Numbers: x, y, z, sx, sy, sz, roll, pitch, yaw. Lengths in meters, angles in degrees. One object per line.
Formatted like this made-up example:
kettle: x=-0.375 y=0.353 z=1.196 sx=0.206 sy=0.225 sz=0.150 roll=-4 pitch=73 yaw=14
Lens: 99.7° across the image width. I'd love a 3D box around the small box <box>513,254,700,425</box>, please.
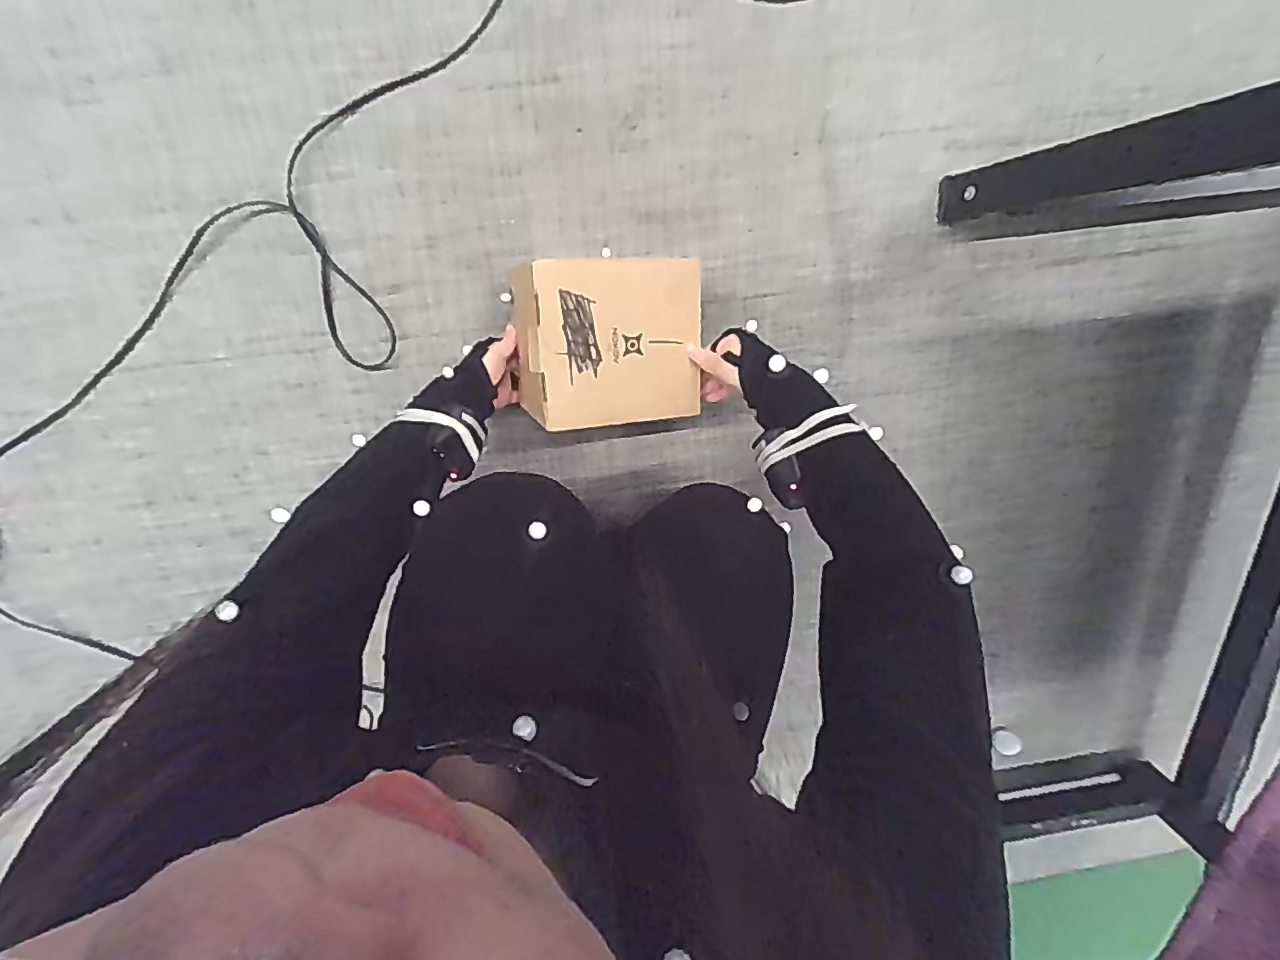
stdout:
small box: x=-0.046 y=-0.164 z=0.626 sx=0.179 sy=0.176 sz=0.168 roll=-8 pitch=110 yaw=-21
